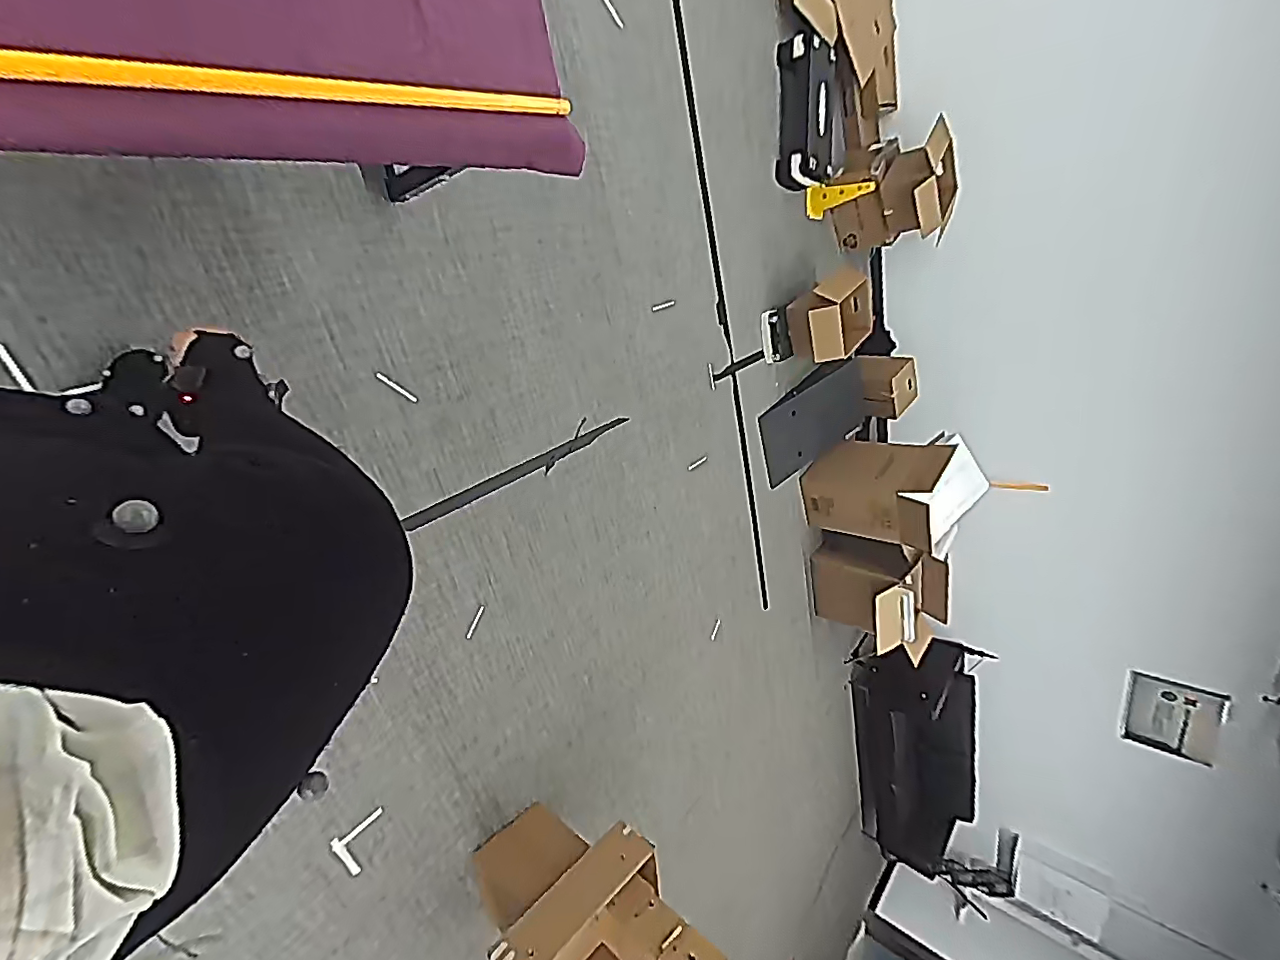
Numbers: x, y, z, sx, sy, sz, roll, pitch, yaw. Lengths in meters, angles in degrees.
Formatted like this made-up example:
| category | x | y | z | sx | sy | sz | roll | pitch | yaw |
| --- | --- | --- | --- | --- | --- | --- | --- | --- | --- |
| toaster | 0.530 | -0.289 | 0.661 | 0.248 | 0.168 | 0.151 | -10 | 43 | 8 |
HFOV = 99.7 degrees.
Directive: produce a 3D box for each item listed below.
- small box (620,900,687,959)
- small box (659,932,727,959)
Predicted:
| category | x | y | z | sx | sy | sz | roll | pitch | yaw |
| --- | --- | --- | --- | --- | --- | --- | --- | --- | --- |
| small box | 0.044 | 1.586 | 1.840 | 0.168 | 0.176 | 0.179 | -12 | 107 | -45 |
| small box | 0.161 | 1.604 | 1.727 | 0.168 | 0.176 | 0.179 | -6 | 102 | -46 |
